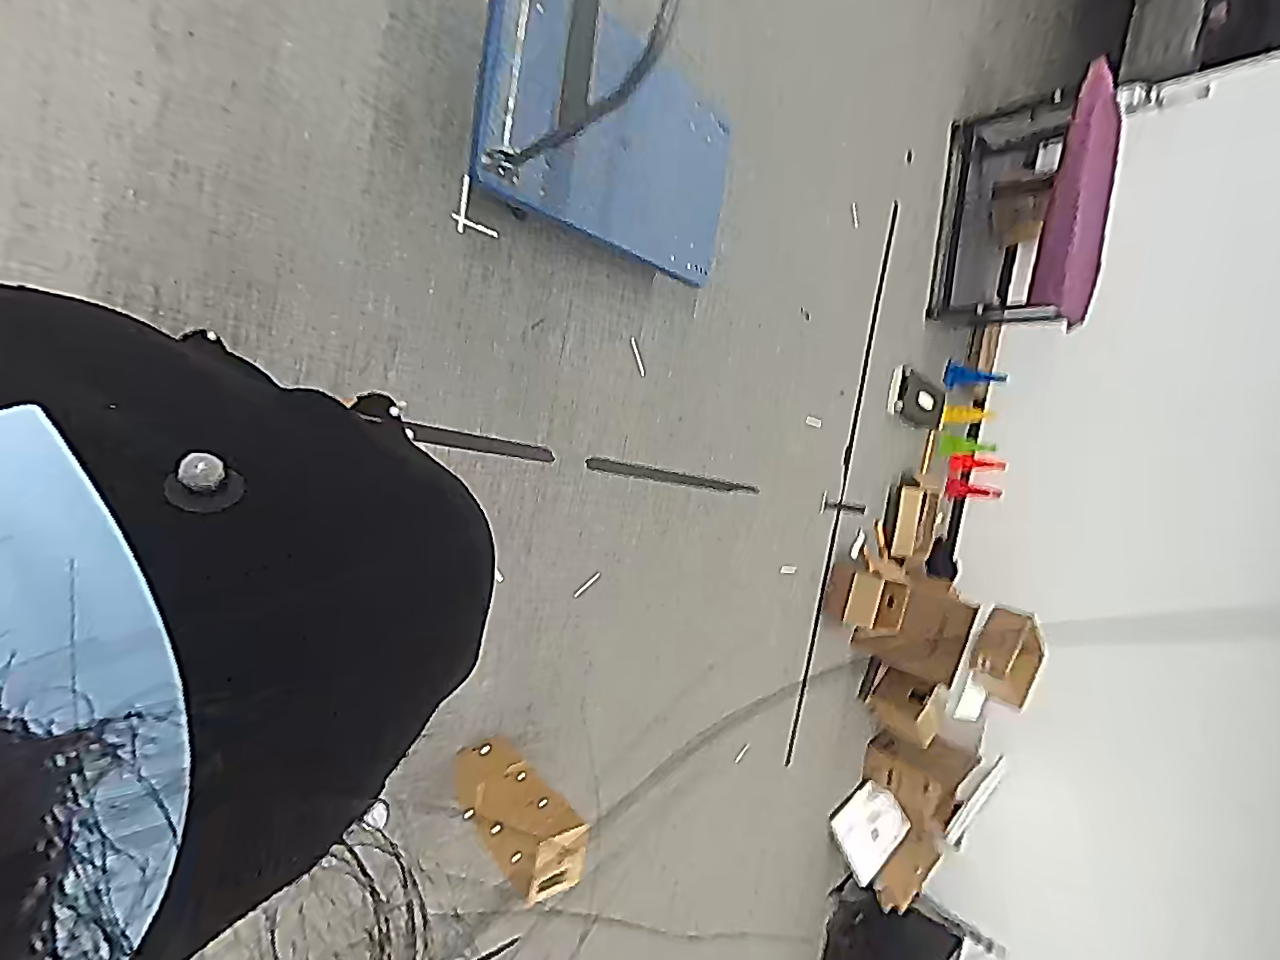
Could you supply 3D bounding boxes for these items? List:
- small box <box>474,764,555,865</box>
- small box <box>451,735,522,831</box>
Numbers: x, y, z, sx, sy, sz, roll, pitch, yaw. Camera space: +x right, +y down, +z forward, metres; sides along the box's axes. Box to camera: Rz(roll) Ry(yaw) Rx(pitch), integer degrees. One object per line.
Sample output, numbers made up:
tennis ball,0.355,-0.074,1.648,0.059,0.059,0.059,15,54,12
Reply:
small box,-0.382,0.999,1.630,0.168,0.176,0.179,8,93,-43
small box,-0.496,0.967,1.742,0.168,0.176,0.179,-8,105,-42
